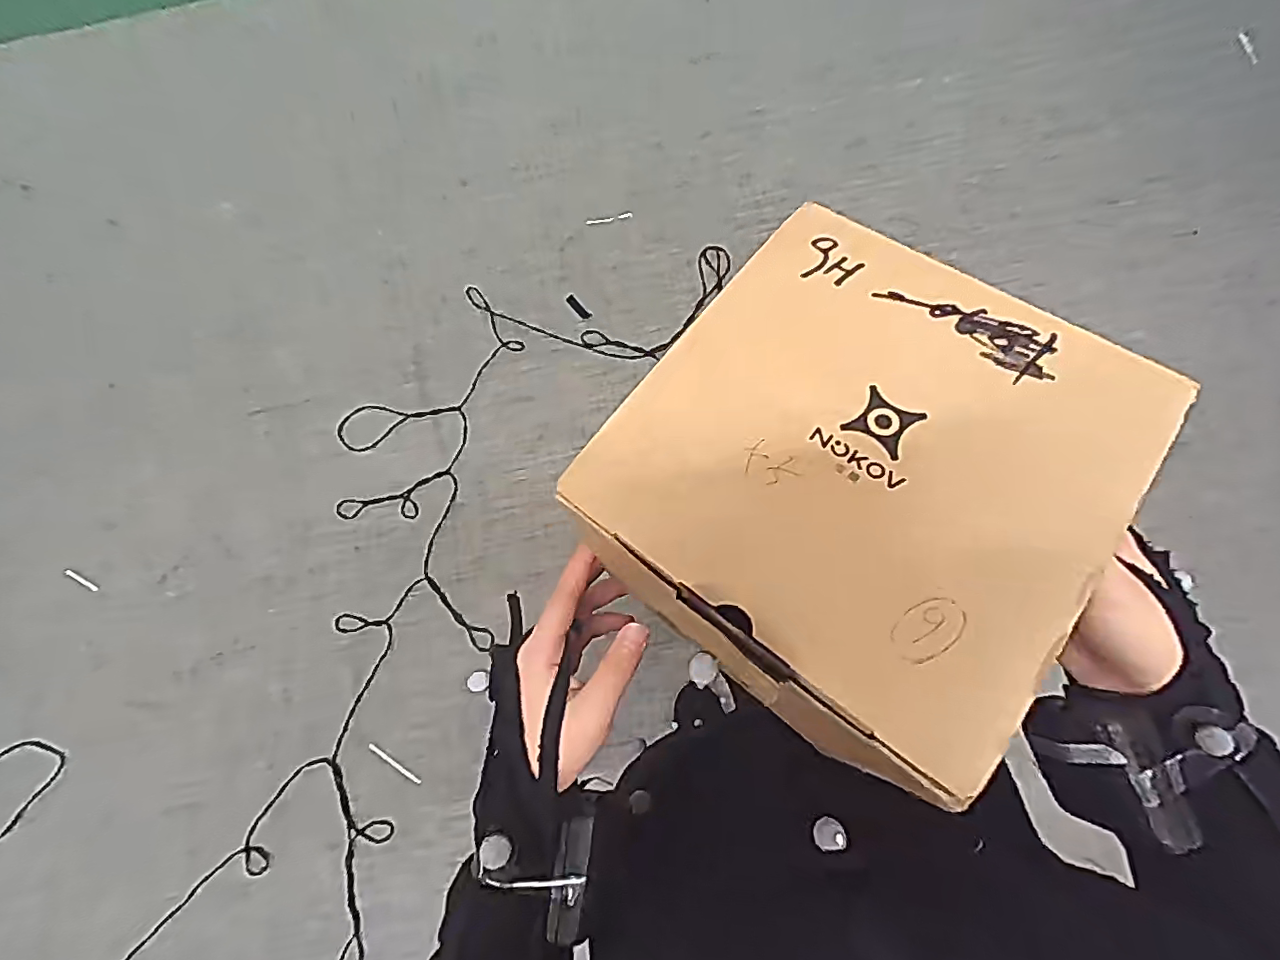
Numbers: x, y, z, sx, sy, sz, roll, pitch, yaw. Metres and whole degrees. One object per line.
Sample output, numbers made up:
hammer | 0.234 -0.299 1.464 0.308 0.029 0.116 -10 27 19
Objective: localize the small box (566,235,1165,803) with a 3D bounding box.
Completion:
small box | 0.093 0.023 0.284 0.168 0.176 0.179 36 76 17
